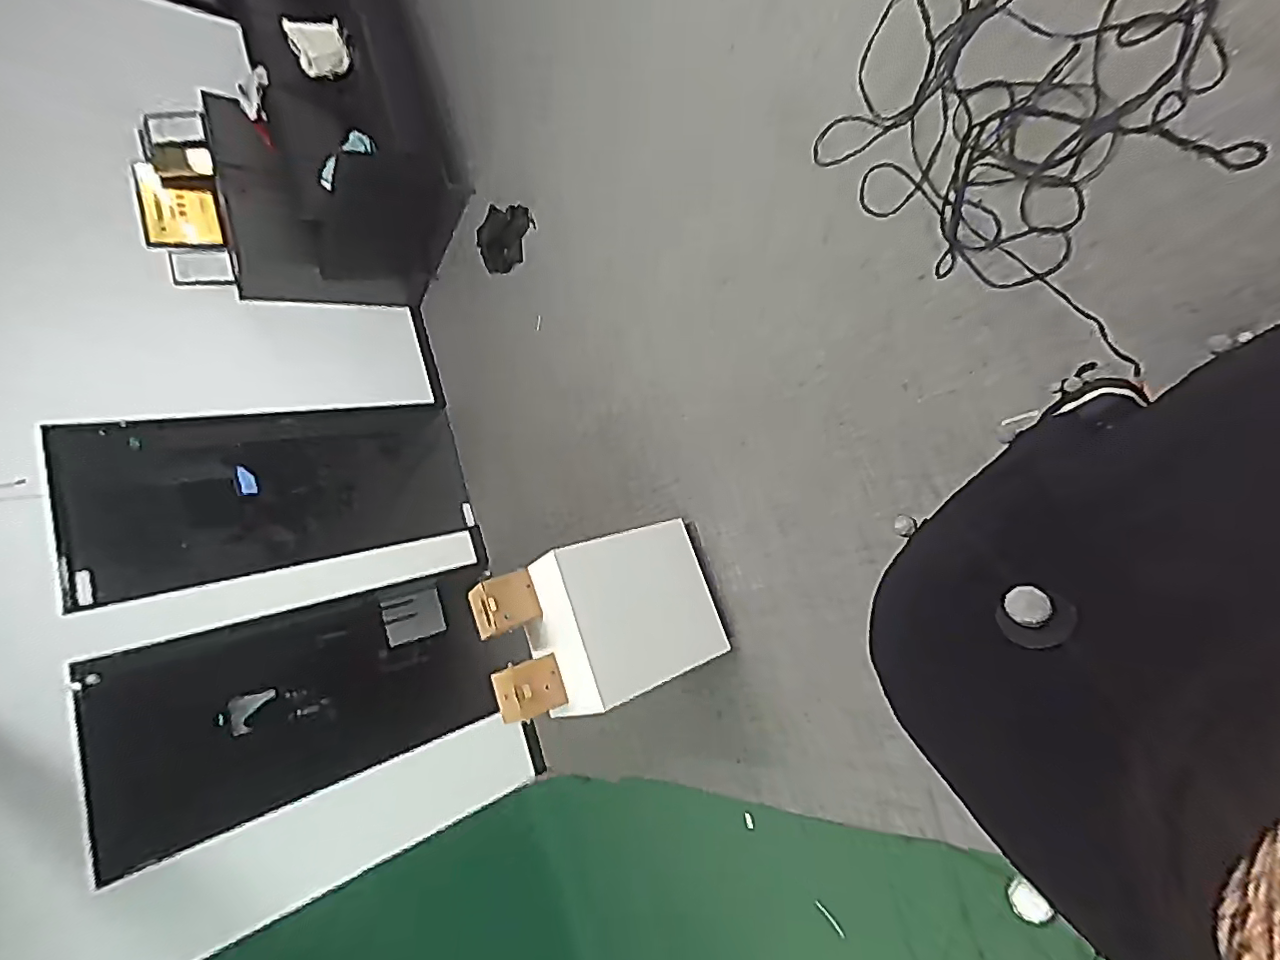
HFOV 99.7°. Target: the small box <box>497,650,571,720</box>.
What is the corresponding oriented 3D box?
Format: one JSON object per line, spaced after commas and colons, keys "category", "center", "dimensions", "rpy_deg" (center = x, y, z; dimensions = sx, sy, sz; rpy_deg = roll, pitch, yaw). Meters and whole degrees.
{"category": "small box", "center": [-0.352, 0.681, 1.796], "dimensions": [0.179, 0.176, 0.168], "rpy_deg": [-36, 69, 48]}
